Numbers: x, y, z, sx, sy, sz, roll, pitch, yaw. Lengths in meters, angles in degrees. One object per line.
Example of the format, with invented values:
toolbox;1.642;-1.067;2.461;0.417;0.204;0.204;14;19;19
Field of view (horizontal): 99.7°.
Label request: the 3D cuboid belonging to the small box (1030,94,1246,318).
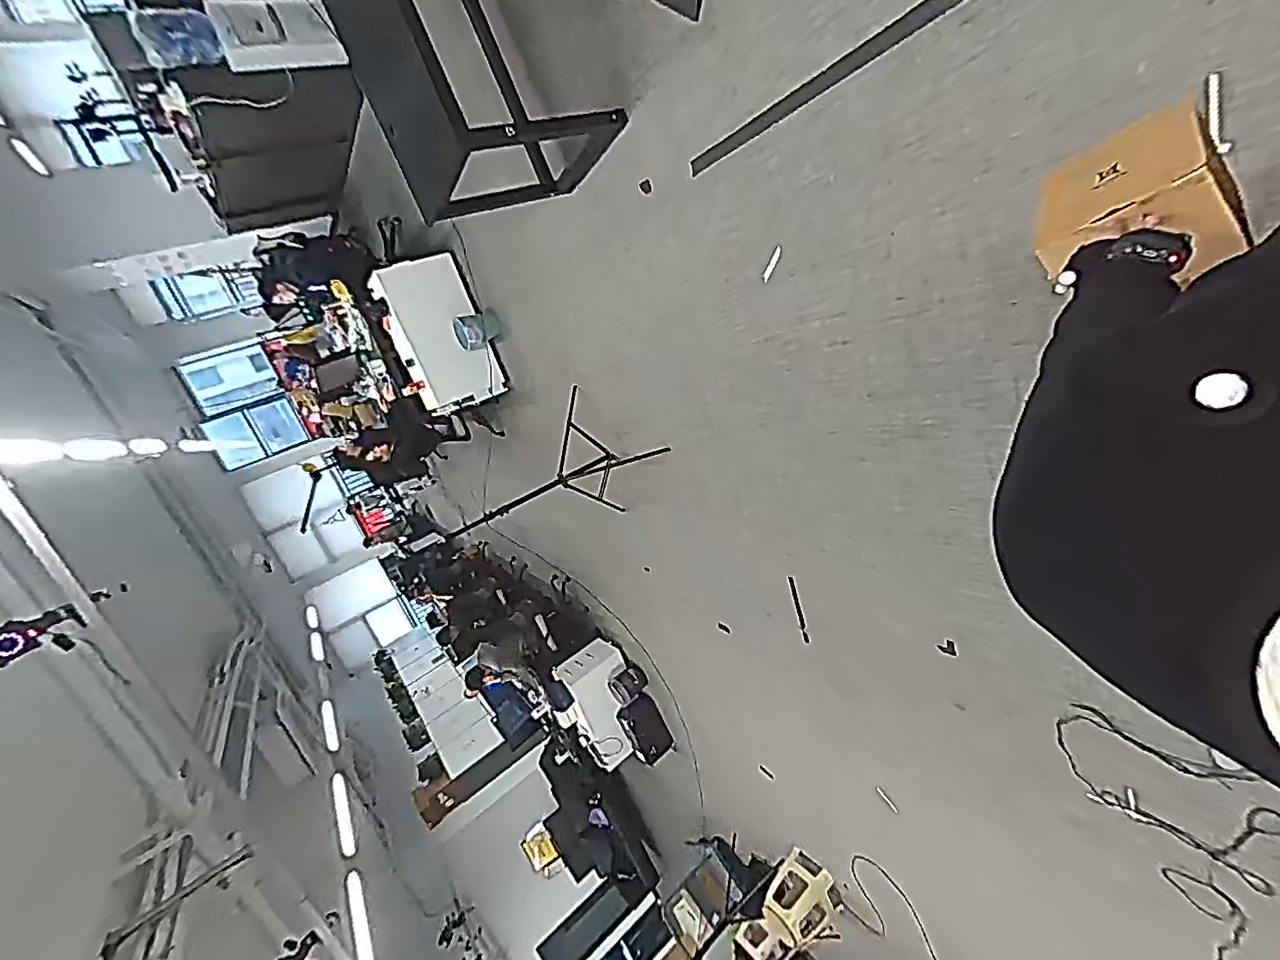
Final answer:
small box;0.649;-0.341;0.714;0.176;0.179;0.168;36;150;-22
